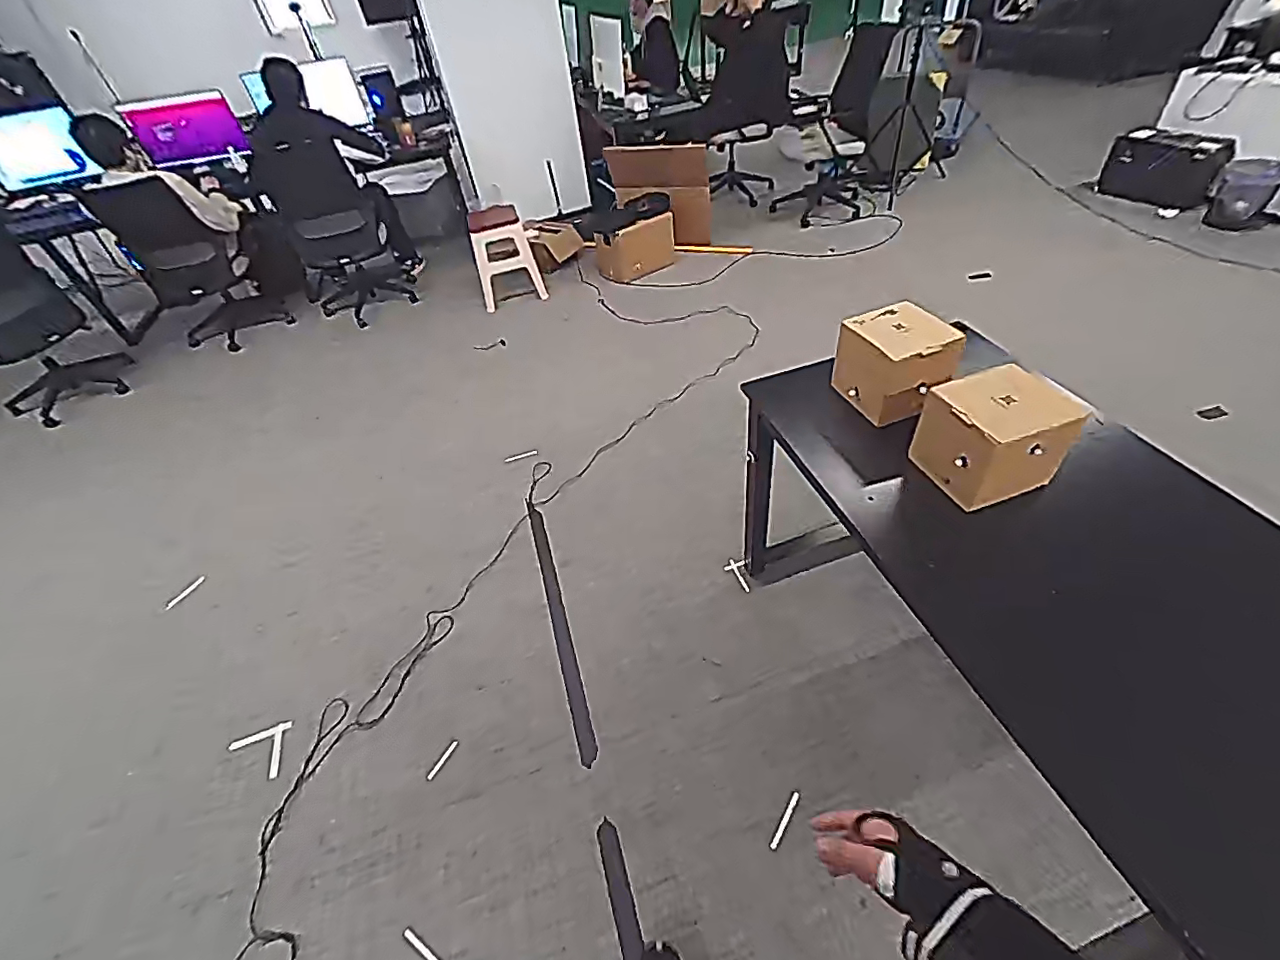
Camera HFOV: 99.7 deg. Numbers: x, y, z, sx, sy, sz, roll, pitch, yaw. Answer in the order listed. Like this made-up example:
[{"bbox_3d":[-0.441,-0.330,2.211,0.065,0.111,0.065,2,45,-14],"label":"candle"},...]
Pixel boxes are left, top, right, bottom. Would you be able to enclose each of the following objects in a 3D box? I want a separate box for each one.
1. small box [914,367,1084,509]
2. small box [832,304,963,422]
[{"bbox_3d":[0.624,-0.072,0.973,0.179,0.176,0.168,-17,46,-9],"label":"small box"},{"bbox_3d":[0.536,-0.242,1.153,0.168,0.176,0.179,-18,46,-10],"label":"small box"}]
